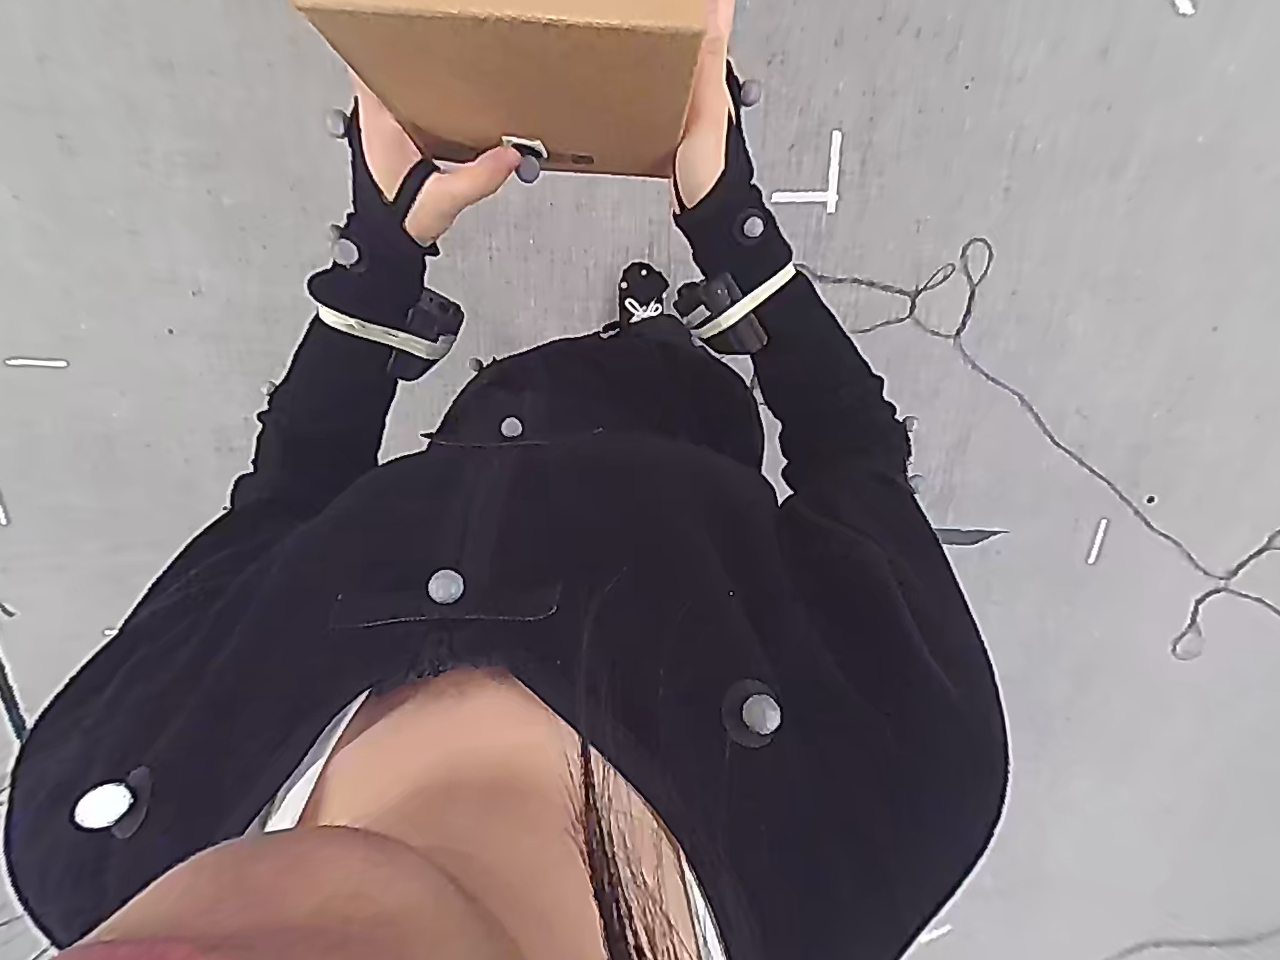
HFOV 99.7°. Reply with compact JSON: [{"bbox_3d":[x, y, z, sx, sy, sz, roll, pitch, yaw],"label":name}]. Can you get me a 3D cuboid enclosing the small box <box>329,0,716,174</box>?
[{"bbox_3d":[-0.049,-0.287,0.279,0.168,0.176,0.179,2,101,-1],"label":"small box"}]
